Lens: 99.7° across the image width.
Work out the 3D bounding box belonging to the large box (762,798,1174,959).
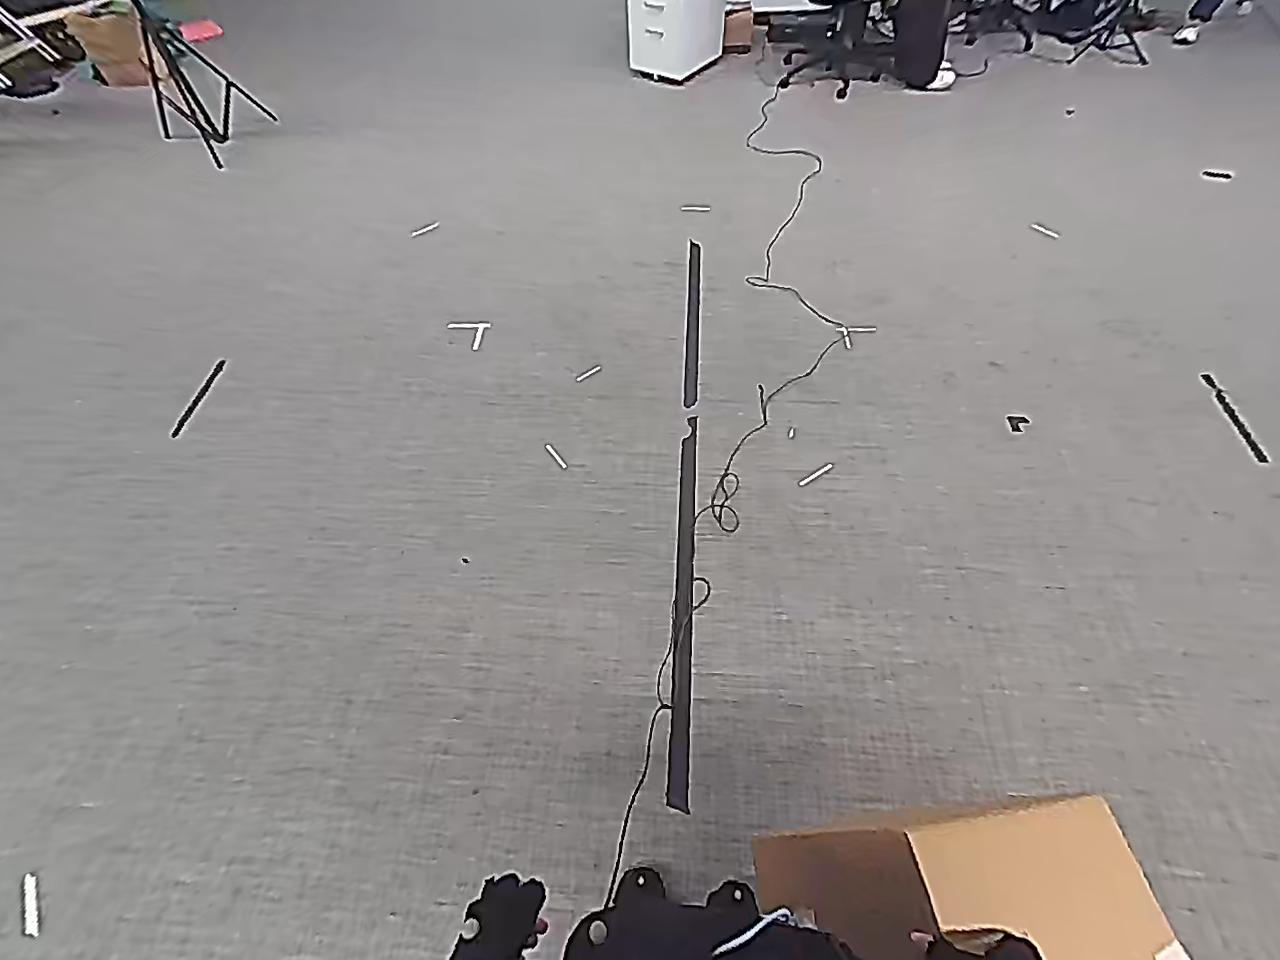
[{"bbox_3d":[0.418,0.640,0.726,0.320,0.408,0.320,2,56,-15],"label":"large box"}]
